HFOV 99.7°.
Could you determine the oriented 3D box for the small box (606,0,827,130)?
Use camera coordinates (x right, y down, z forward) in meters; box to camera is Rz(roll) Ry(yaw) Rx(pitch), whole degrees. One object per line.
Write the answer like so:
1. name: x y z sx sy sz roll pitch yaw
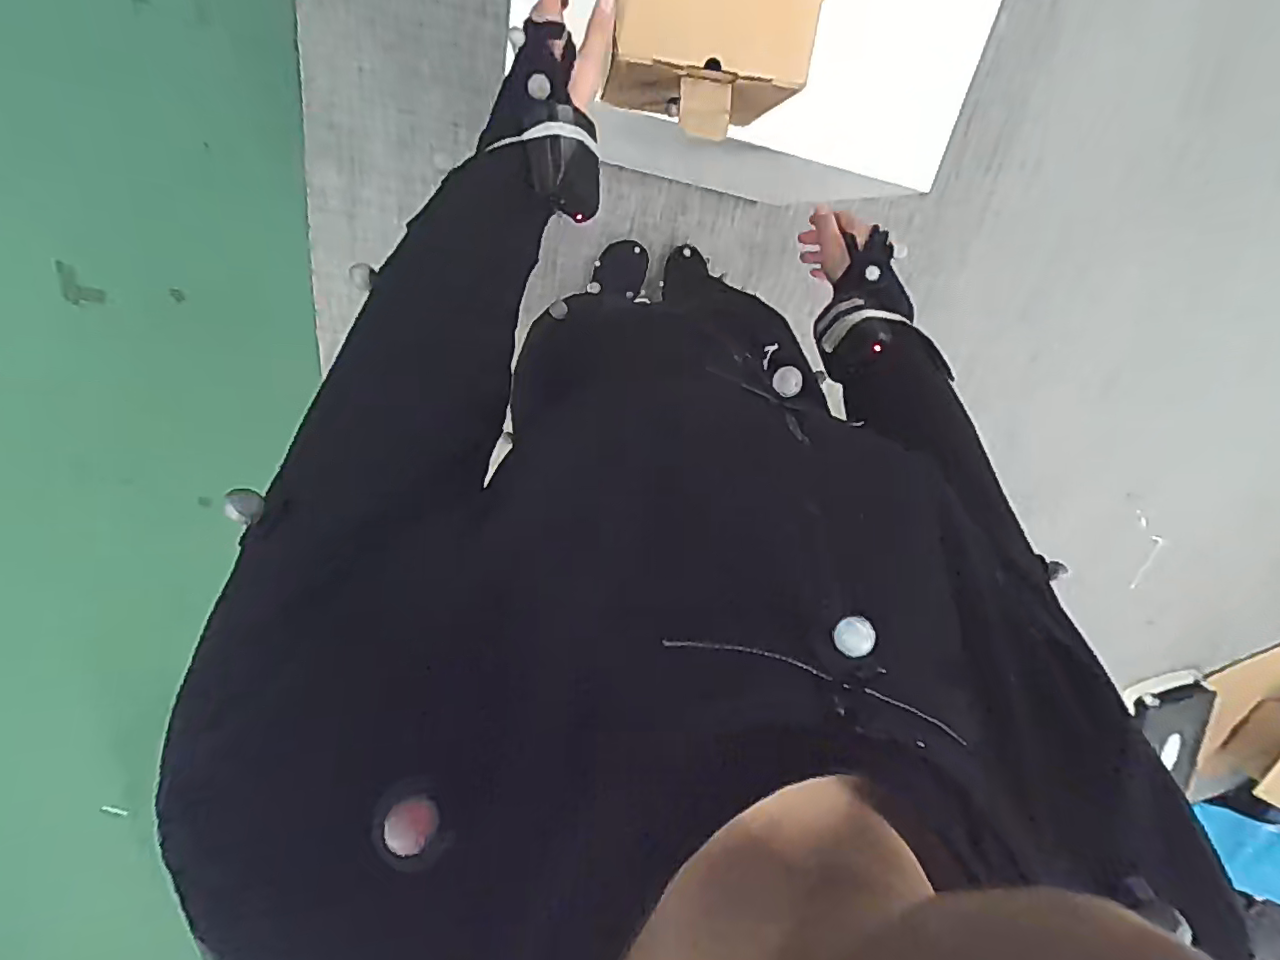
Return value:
1. small box: 0.060 -0.439 0.483 0.168 0.176 0.179 2 114 -9
